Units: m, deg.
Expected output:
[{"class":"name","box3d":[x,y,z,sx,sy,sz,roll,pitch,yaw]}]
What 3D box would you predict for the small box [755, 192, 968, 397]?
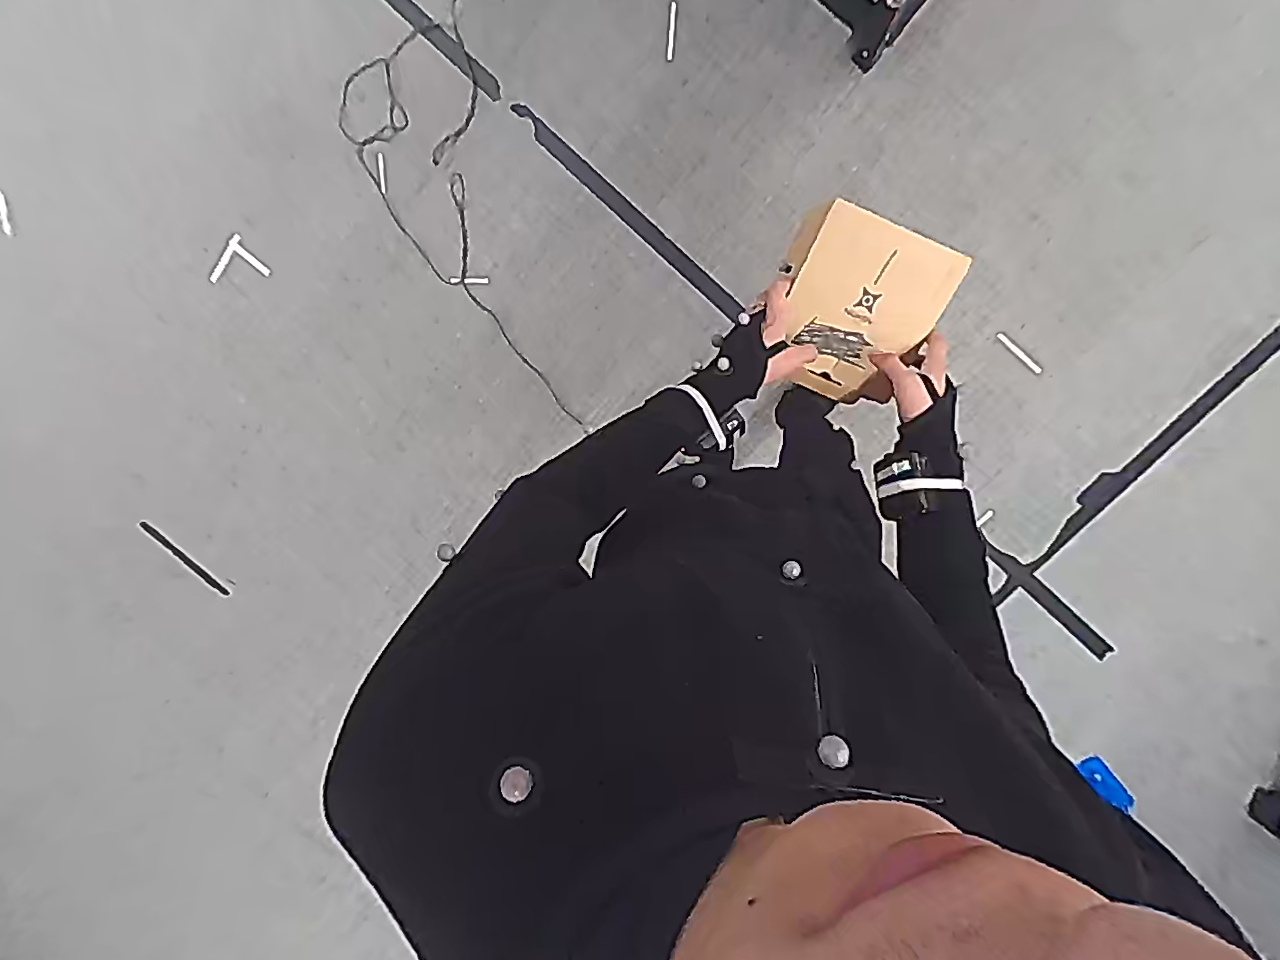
[{"class":"small box","box3d":[0.255,-0.229,0.677,0.168,0.176,0.179,22,112,-3]}]
